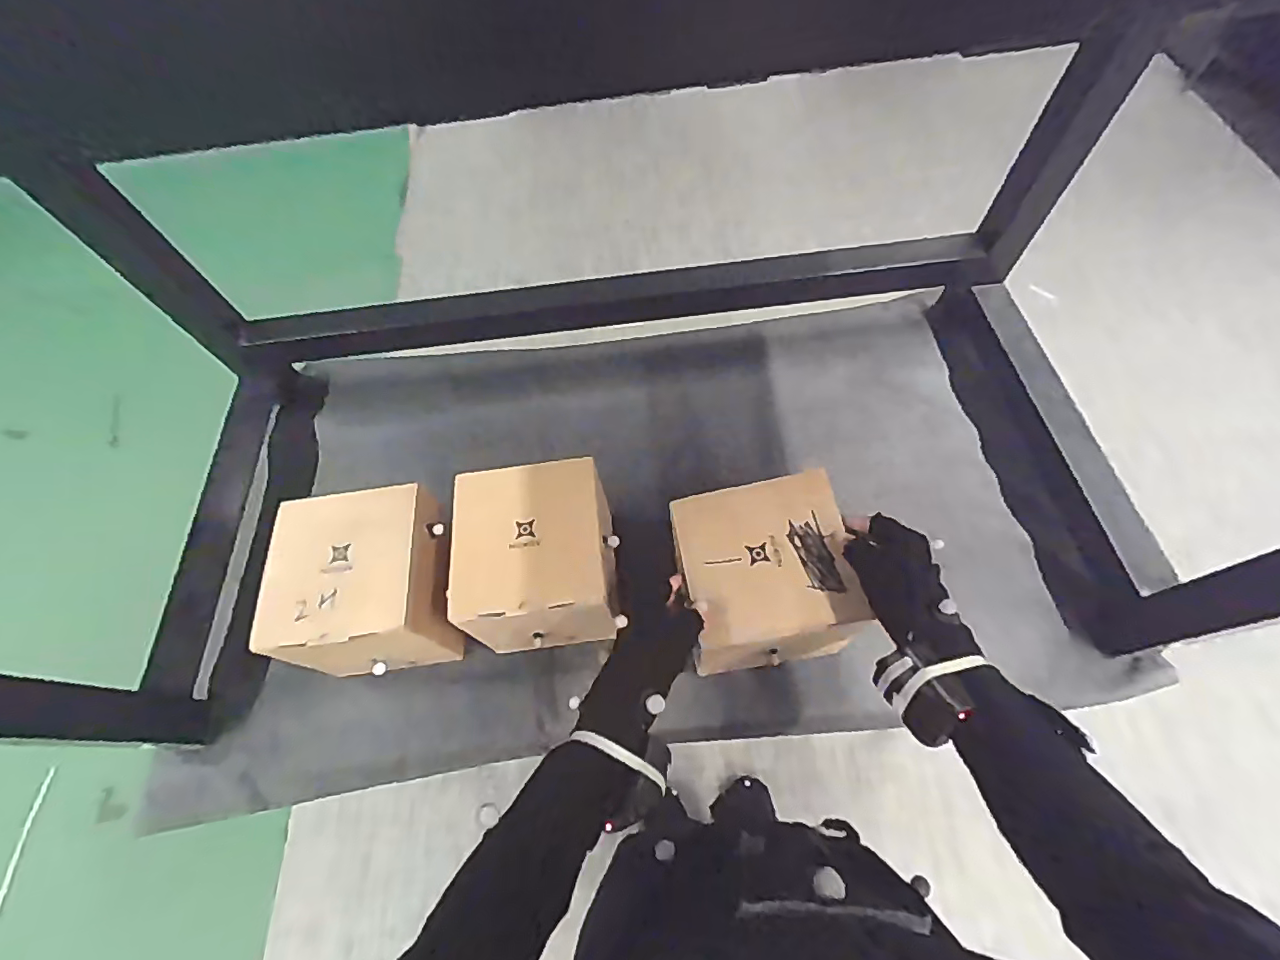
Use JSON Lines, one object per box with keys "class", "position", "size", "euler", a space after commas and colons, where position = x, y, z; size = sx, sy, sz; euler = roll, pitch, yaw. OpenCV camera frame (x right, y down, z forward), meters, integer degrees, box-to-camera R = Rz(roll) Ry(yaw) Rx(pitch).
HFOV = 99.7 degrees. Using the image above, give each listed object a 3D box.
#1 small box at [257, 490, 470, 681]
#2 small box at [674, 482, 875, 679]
{"class": "small box", "position": [-0.319, 0.135, 0.668], "size": [0.168, 0.176, 0.179], "euler": [-8, 61, 1]}
{"class": "small box", "position": [0.139, 0.124, 0.631], "size": [0.179, 0.176, 0.168], "euler": [-10, 60, 1]}
